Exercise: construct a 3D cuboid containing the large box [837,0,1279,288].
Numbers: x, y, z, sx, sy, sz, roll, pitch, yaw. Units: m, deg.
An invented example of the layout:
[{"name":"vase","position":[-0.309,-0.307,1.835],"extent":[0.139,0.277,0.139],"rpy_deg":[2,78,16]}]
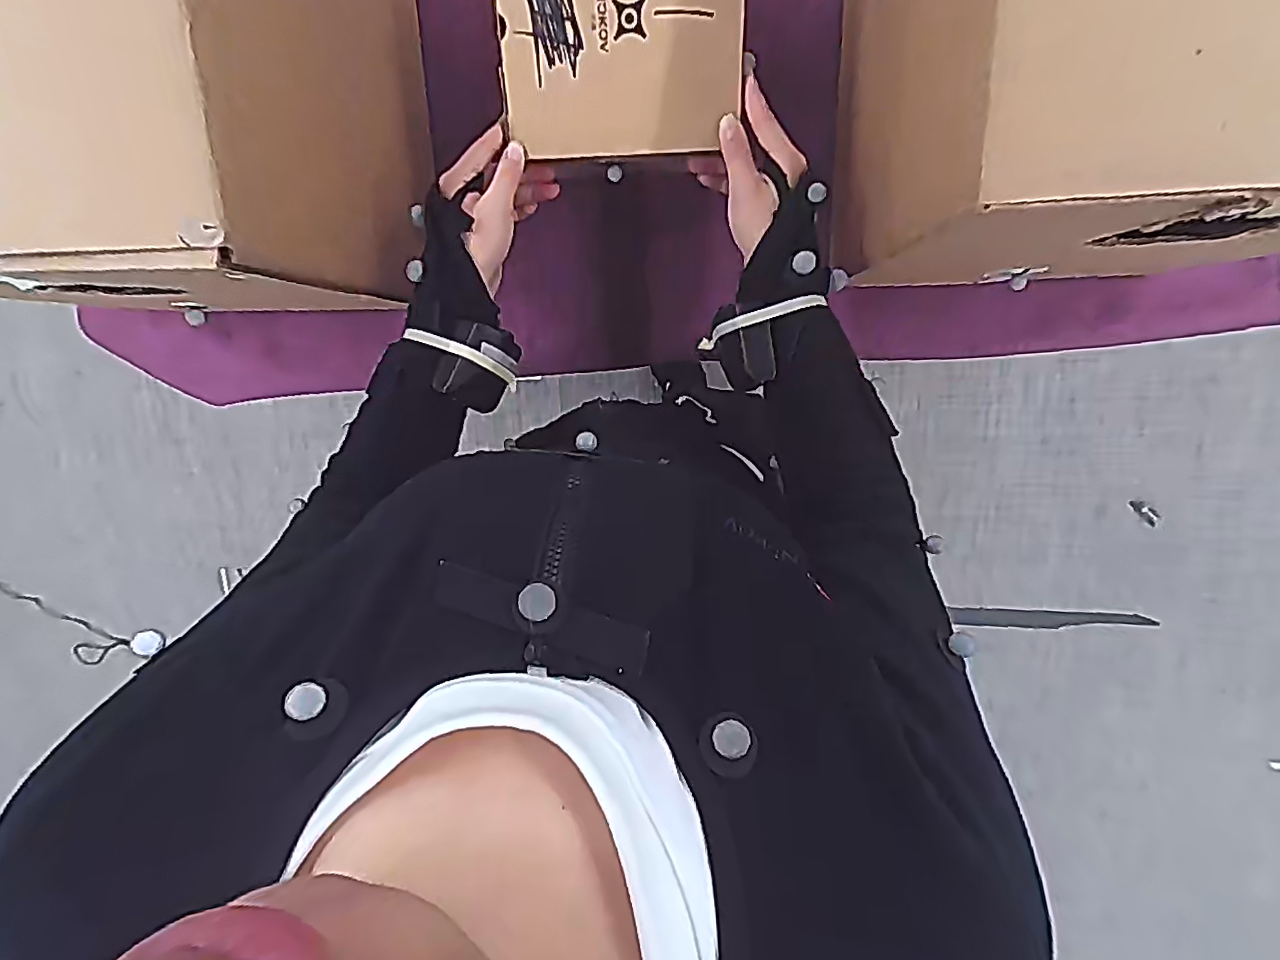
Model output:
[{"name":"large box","position":[0.323,-0.361,0.347],"extent":[0.320,0.320,0.408],"rpy_deg":[-1,102,5]}]
